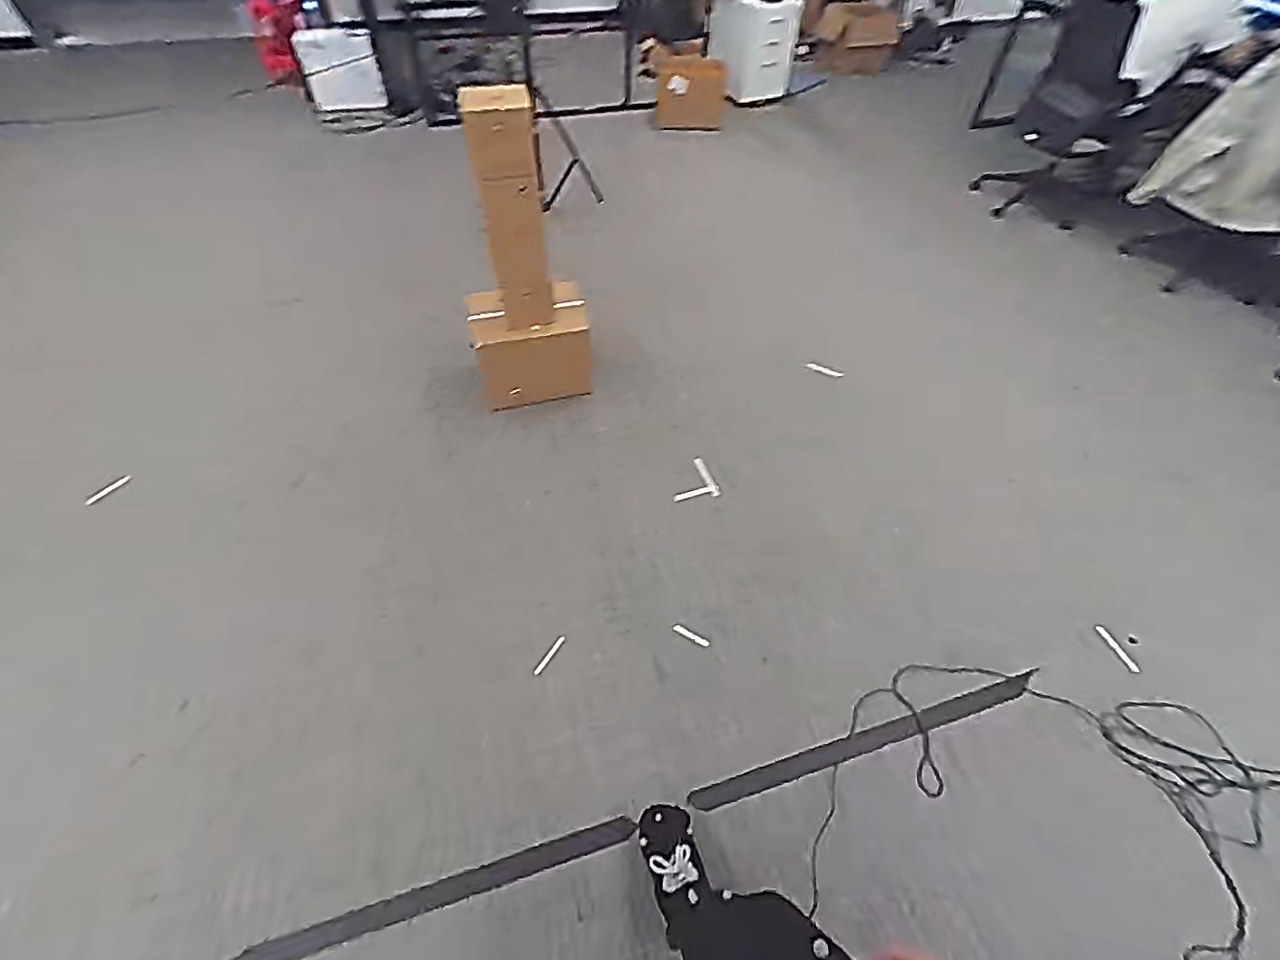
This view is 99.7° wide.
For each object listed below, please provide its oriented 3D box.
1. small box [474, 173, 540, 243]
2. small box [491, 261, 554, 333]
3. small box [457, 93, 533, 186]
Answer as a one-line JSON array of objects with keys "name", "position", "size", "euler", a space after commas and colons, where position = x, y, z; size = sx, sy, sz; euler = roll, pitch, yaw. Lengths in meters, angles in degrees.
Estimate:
[{"name": "small box", "position": [-0.397, -0.833, 1.614], "size": [0.179, 0.176, 0.168], "euler": [-11, 53, -10]}, {"name": "small box", "position": [-0.404, -0.630, 1.873], "size": [0.179, 0.176, 0.168], "euler": [-13, 55, -13]}, {"name": "small box", "position": [-0.393, -0.933, 1.487], "size": [0.179, 0.176, 0.168], "euler": [-11, 54, -10]}]
